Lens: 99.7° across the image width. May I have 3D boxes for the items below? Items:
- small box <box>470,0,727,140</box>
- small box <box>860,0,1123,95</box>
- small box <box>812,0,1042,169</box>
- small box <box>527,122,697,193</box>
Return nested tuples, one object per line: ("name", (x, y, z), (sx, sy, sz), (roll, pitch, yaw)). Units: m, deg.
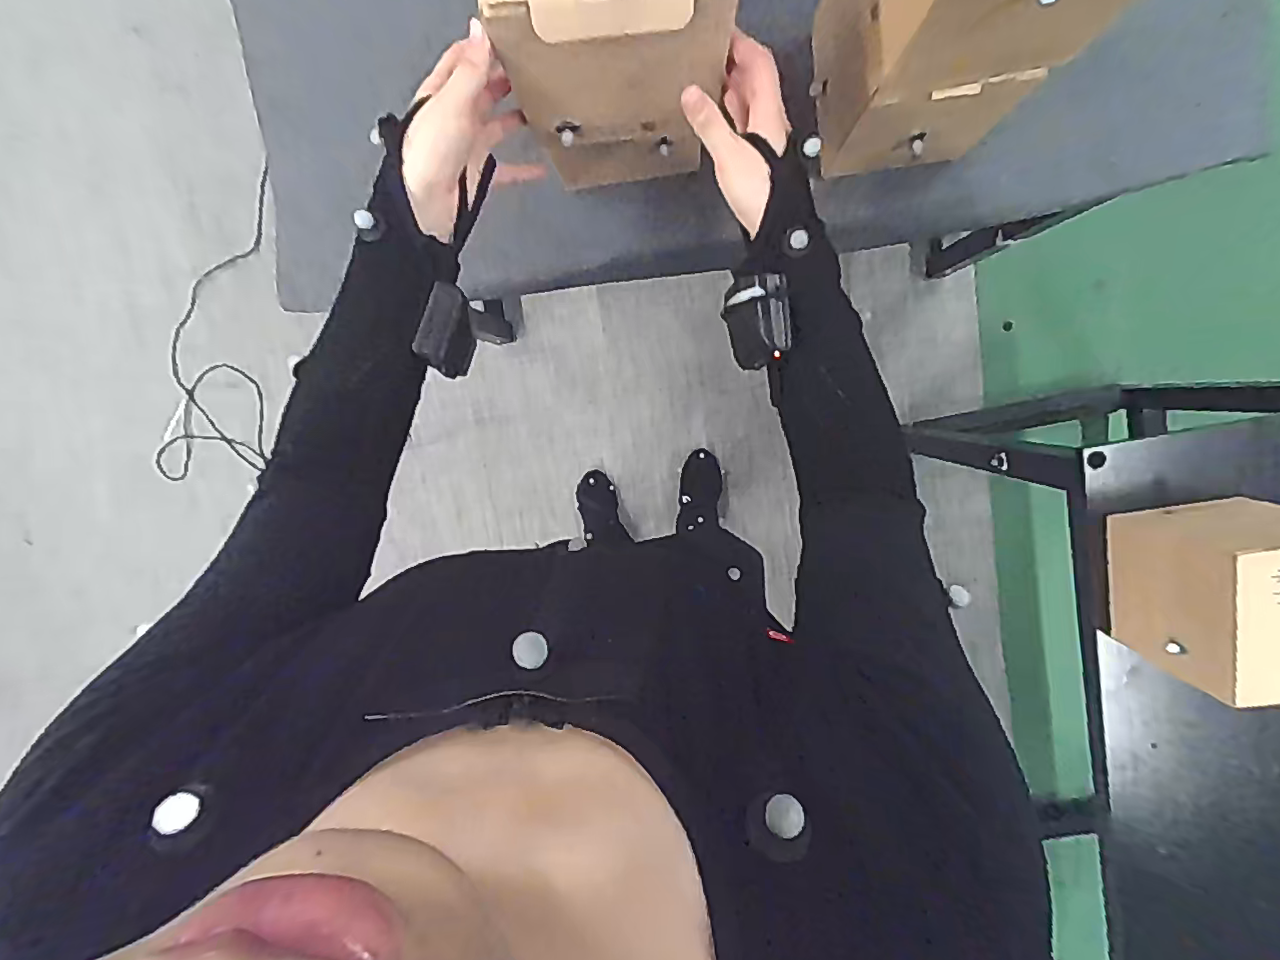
("small box", (-0.026, -0.381, 0.403), (0.168, 0.176, 0.179), (-4, 96, 3))
("small box", (0.280, -0.435, 0.407), (0.179, 0.176, 0.168), (-8, 96, 7))
("small box", (0.285, -0.454, 0.569), (0.168, 0.176, 0.179), (-6, 97, 6))
("small box", (-0.029, -0.445, 0.599), (0.179, 0.176, 0.168), (-7, 96, 7))
